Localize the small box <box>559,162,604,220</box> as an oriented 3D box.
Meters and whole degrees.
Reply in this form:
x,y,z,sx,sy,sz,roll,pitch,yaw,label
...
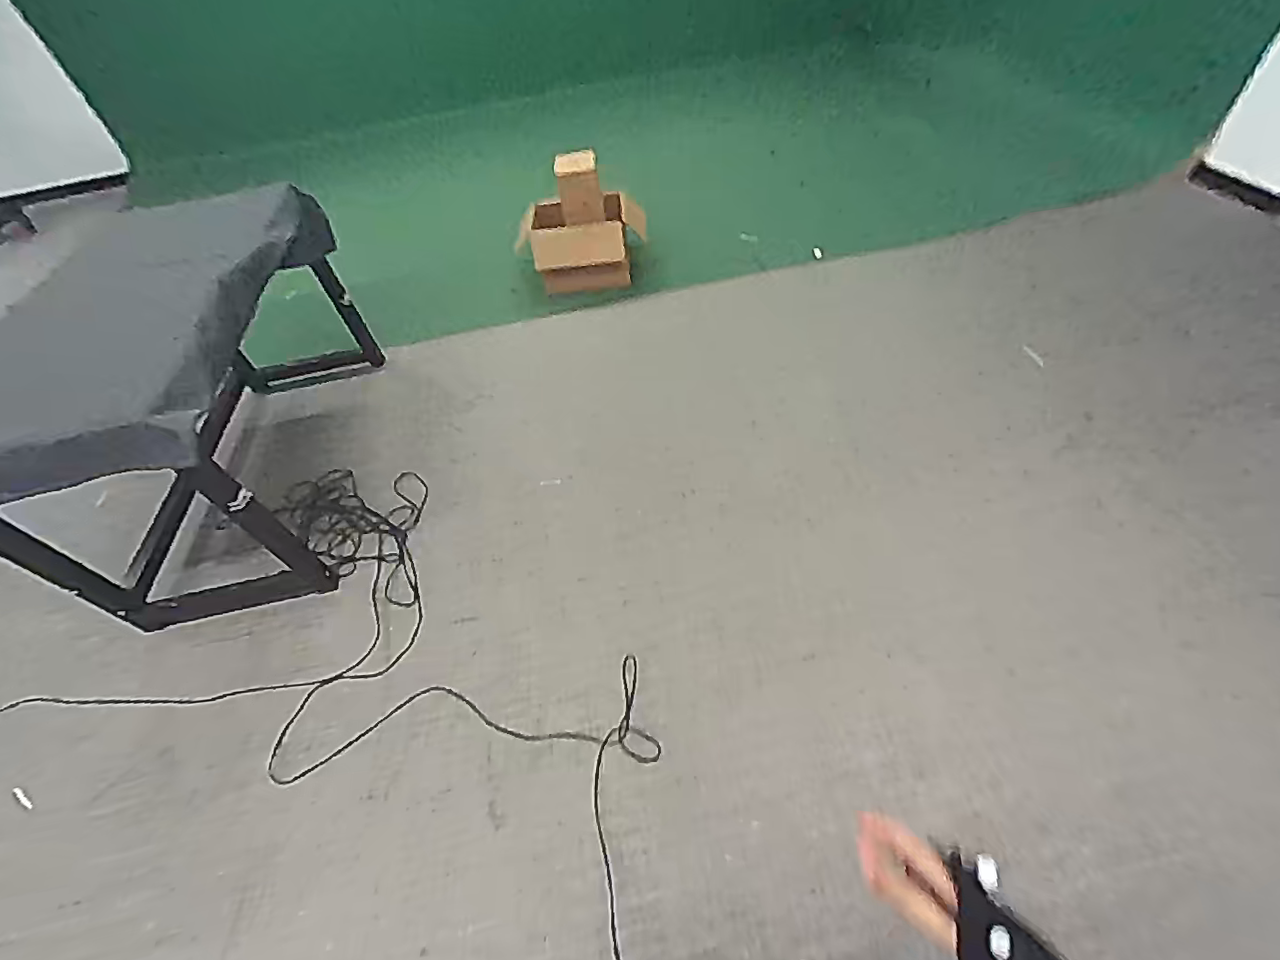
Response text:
x,y,z,sx,sy,sz,roll,pitch,yaw,label
-0.248,-1.236,2.327,0.168,0.176,0.179,-7,49,2,small box
